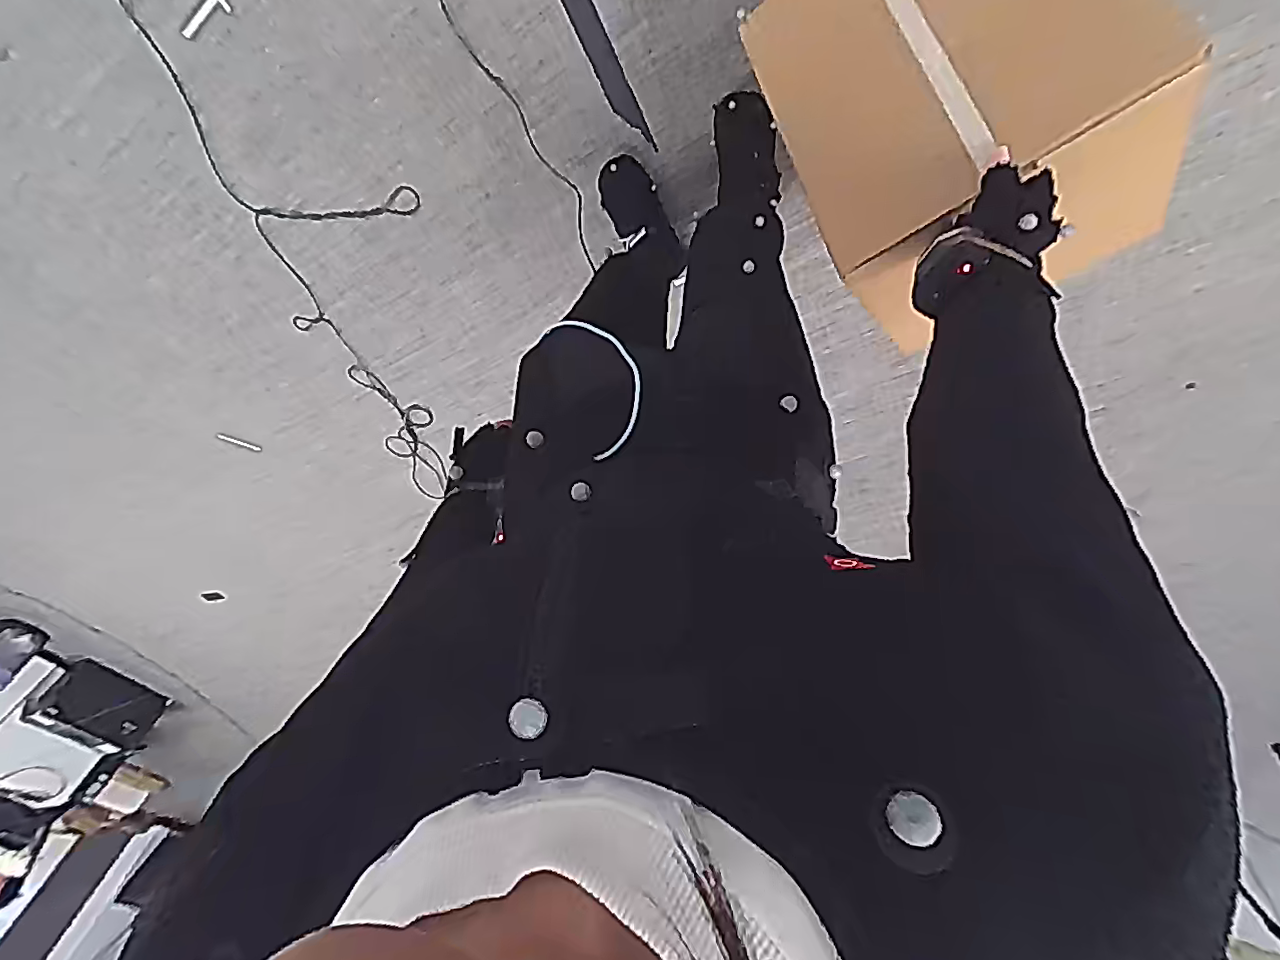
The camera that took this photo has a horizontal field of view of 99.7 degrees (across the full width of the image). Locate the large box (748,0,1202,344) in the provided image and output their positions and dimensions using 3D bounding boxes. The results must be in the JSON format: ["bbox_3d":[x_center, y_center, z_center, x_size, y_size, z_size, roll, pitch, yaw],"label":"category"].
[{"bbox_3d":[0.399,-0.457,0.702,0.320,0.408,0.320,-25,160,33],"label":"large box"}]
